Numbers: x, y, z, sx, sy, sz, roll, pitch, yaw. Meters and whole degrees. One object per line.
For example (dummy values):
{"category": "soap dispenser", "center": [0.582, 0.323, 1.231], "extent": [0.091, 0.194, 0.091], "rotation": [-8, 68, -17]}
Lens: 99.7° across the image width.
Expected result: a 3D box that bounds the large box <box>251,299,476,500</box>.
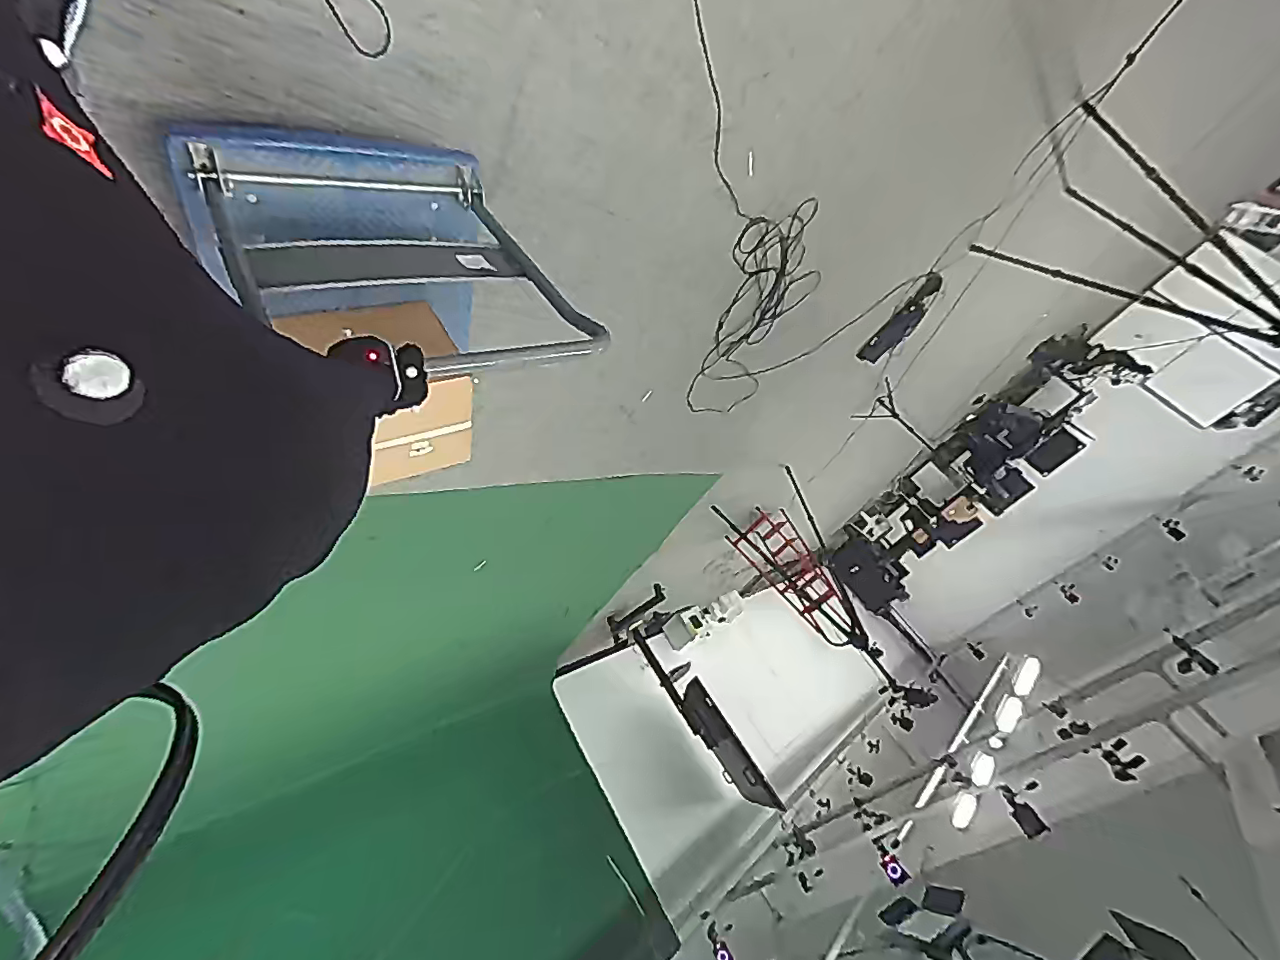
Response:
{"category": "large box", "center": [-0.668, -0.213, 1.357], "extent": [0.408, 0.320, 0.320], "rotation": [-21, 151, -31]}
